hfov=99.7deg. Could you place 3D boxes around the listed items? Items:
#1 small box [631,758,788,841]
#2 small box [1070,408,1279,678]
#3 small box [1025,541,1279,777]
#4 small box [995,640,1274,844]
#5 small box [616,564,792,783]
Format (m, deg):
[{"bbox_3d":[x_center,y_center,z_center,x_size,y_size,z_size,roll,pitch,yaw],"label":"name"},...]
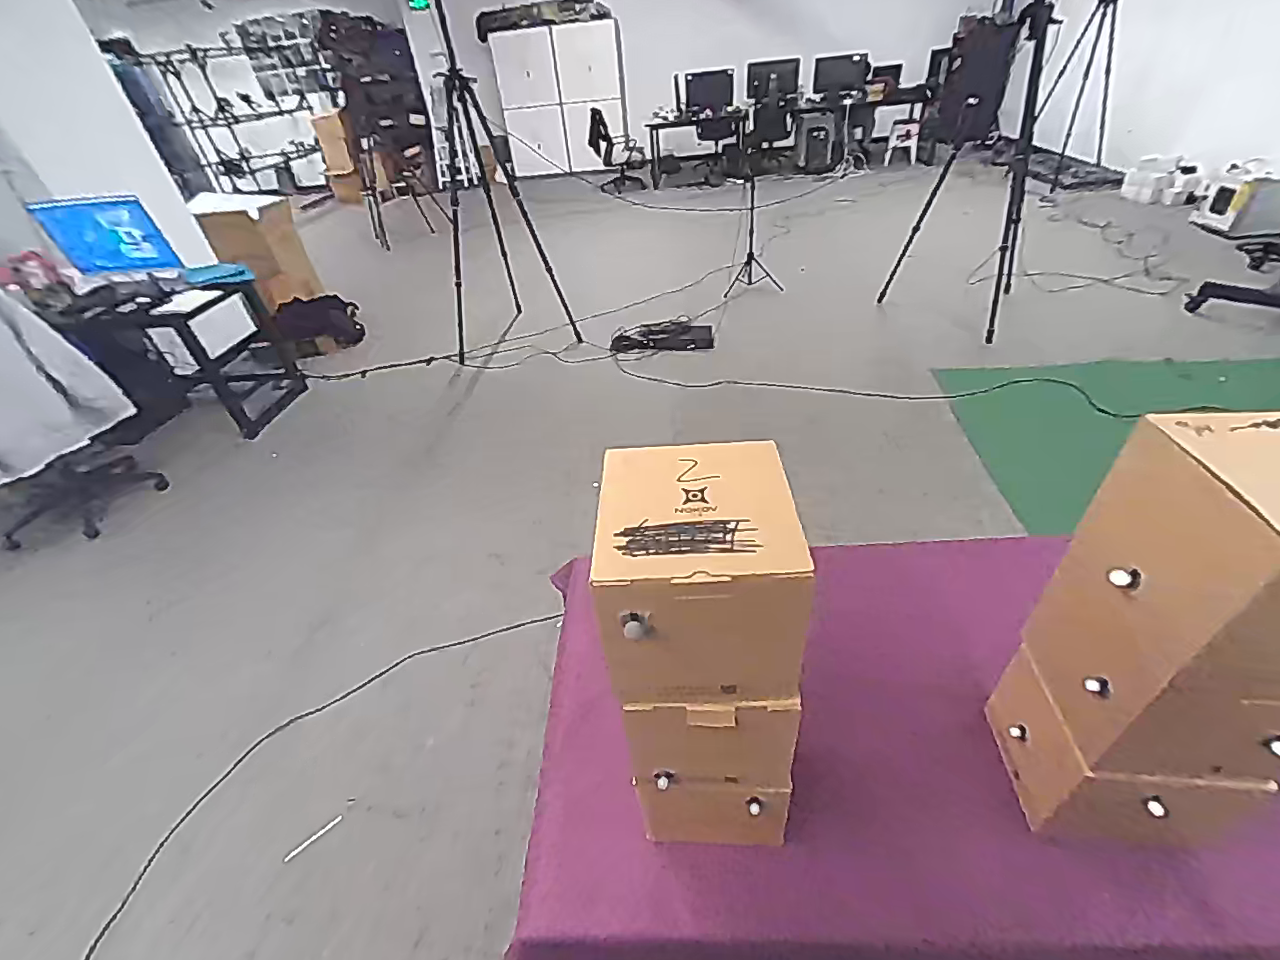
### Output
[{"bbox_3d":[0.089,0.348,0.705,0.179,0.176,0.168,-2,38,6],"label":"small box"},{"bbox_3d":[0.526,0.055,0.464,0.168,0.176,0.179,0,40,8],"label":"small box"},{"bbox_3d":[0.547,0.184,0.564,0.168,0.176,0.179,0,38,9],"label":"small box"},{"bbox_3d":[0.564,0.316,0.658,0.179,0.176,0.168,0,39,10],"label":"small box"},{"bbox_3d":[0.071,0.217,0.607,0.168,0.176,0.179,-3,37,5],"label":"small box"}]
